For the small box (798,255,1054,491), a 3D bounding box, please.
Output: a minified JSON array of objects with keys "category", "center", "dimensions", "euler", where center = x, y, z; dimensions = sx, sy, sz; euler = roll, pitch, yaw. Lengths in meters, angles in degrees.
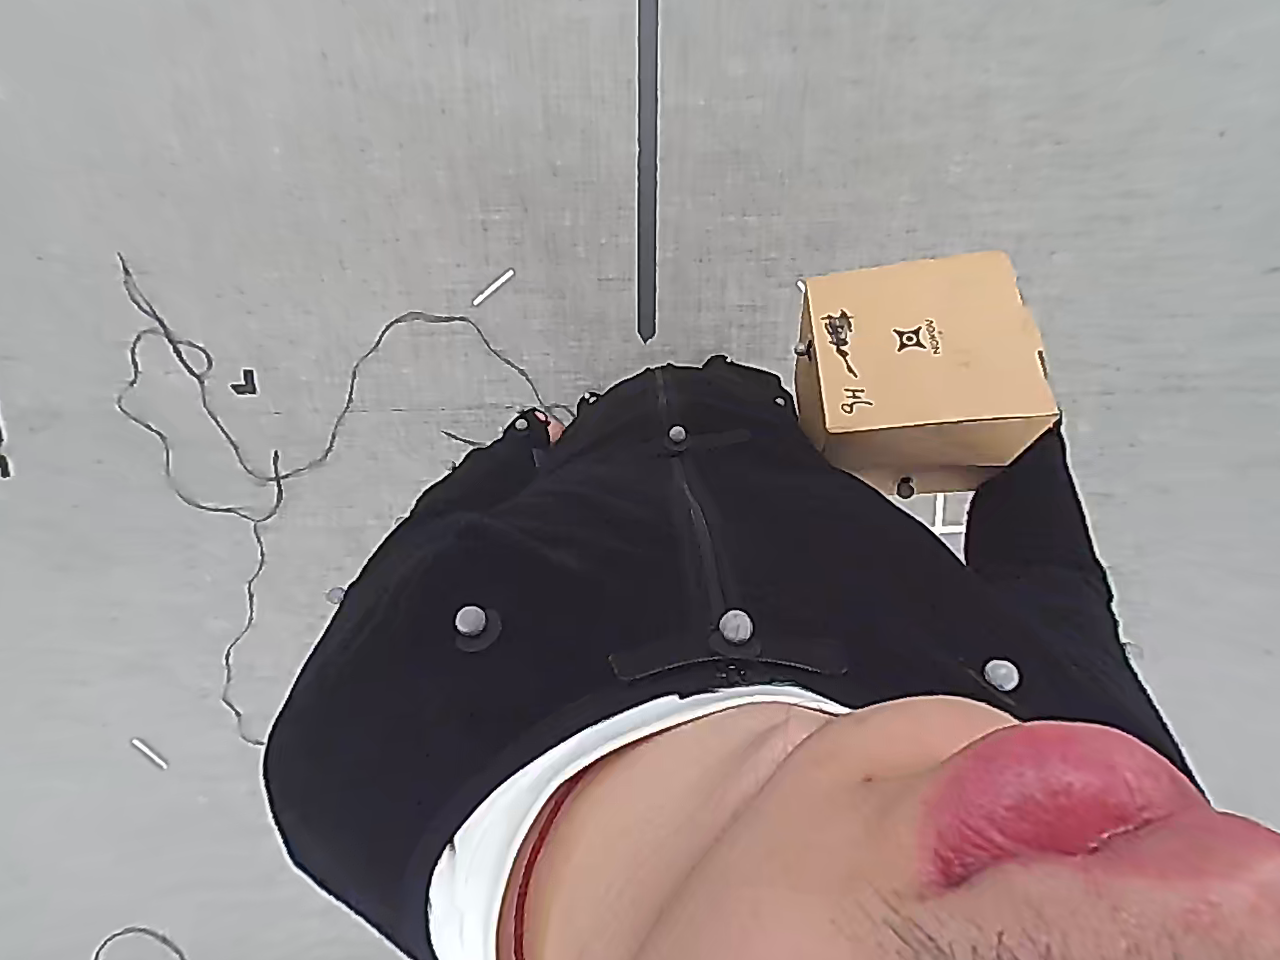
[{"category":"small box","center":[0.264,-0.096,0.550],"dimensions":[0.179,0.176,0.168],"euler":[-4,67,10]}]
